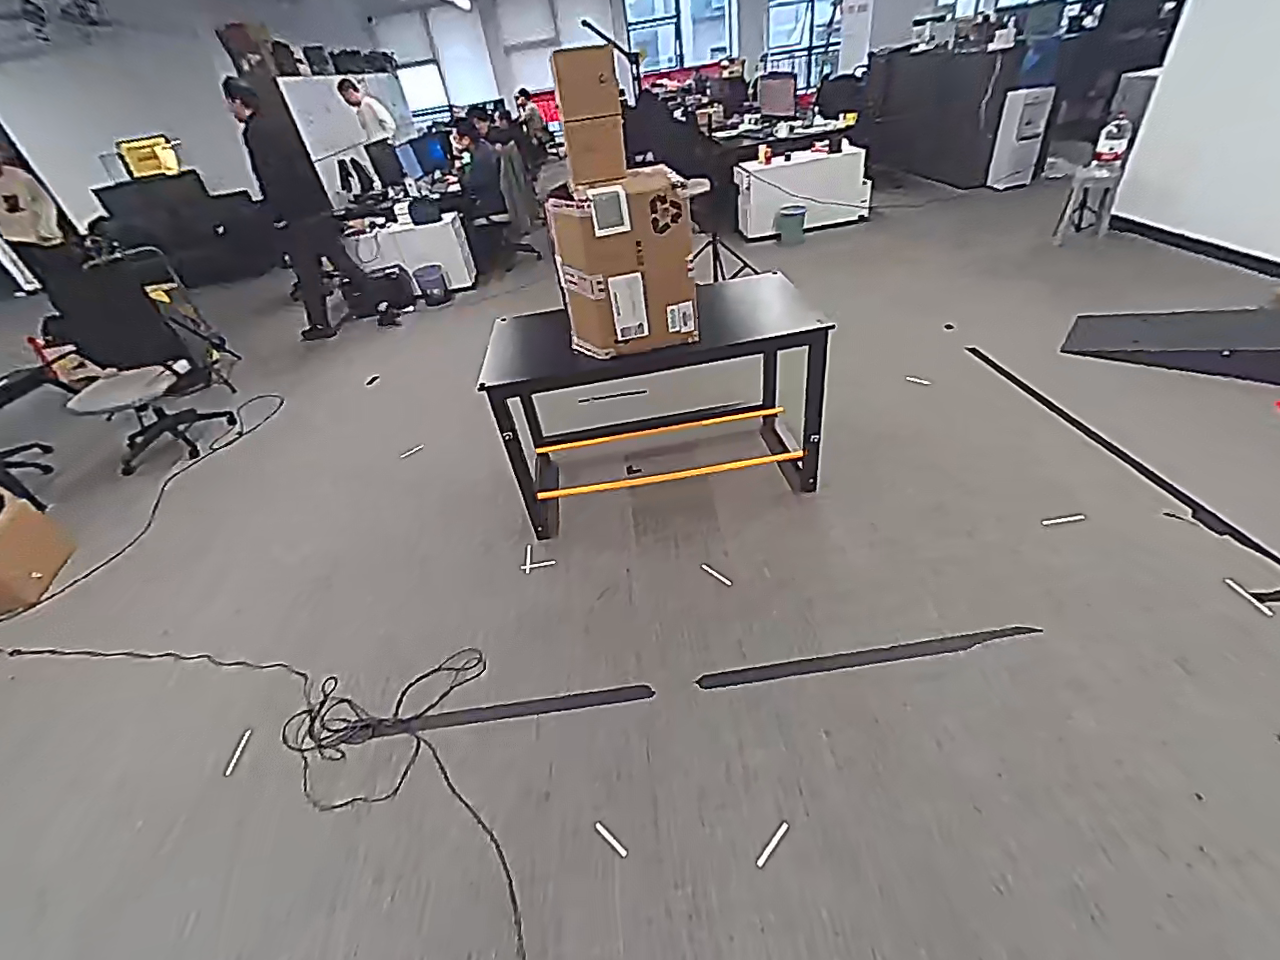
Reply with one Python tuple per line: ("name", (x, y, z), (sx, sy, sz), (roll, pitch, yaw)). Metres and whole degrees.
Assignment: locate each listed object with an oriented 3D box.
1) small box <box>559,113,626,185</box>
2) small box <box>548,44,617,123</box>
("small box", (-0.150, -1.045, 1.708), (0.179, 0.176, 0.168), (-12, 36, -4))
("small box", (-0.168, -1.174, 1.609), (0.179, 0.176, 0.168), (-13, 35, -5))
